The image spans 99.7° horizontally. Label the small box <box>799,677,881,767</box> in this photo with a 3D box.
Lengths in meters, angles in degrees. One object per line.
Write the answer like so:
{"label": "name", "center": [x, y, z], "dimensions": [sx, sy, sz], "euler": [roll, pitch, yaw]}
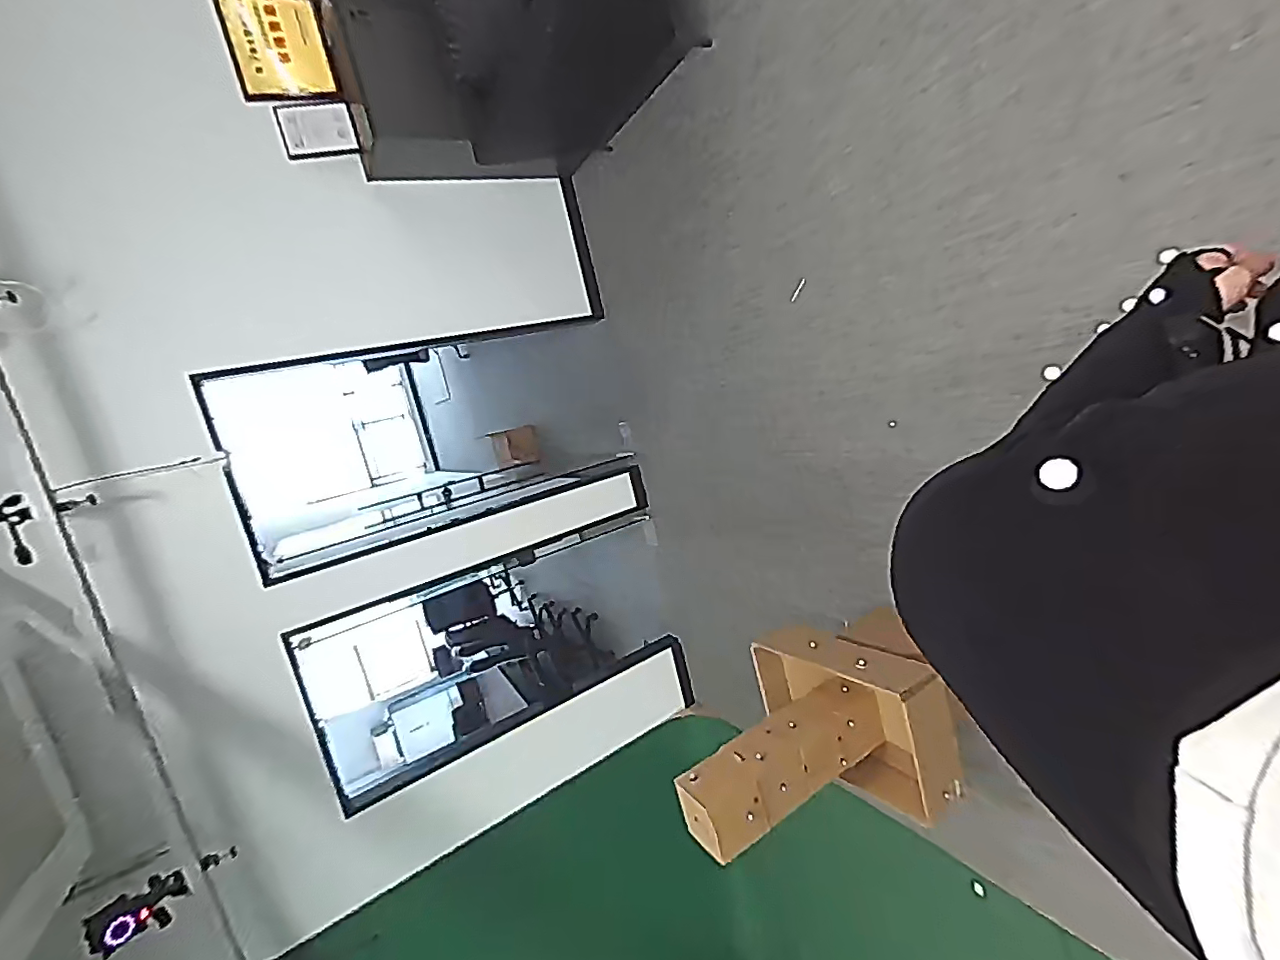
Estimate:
{"label": "small box", "center": [0.642, 0.764, 1.725], "dimensions": [0.168, 0.176, 0.179], "euler": [-4, 102, 62]}

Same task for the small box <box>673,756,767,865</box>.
{"label": "small box", "center": [0.222, 0.907, 1.507], "dimensions": [0.179, 0.176, 0.168], "euler": [-5, 102, 63]}

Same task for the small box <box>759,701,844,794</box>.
{"label": "small box", "center": [0.500, 0.808, 1.654], "dimensions": [0.179, 0.176, 0.168], "euler": [-2, 104, 63]}
